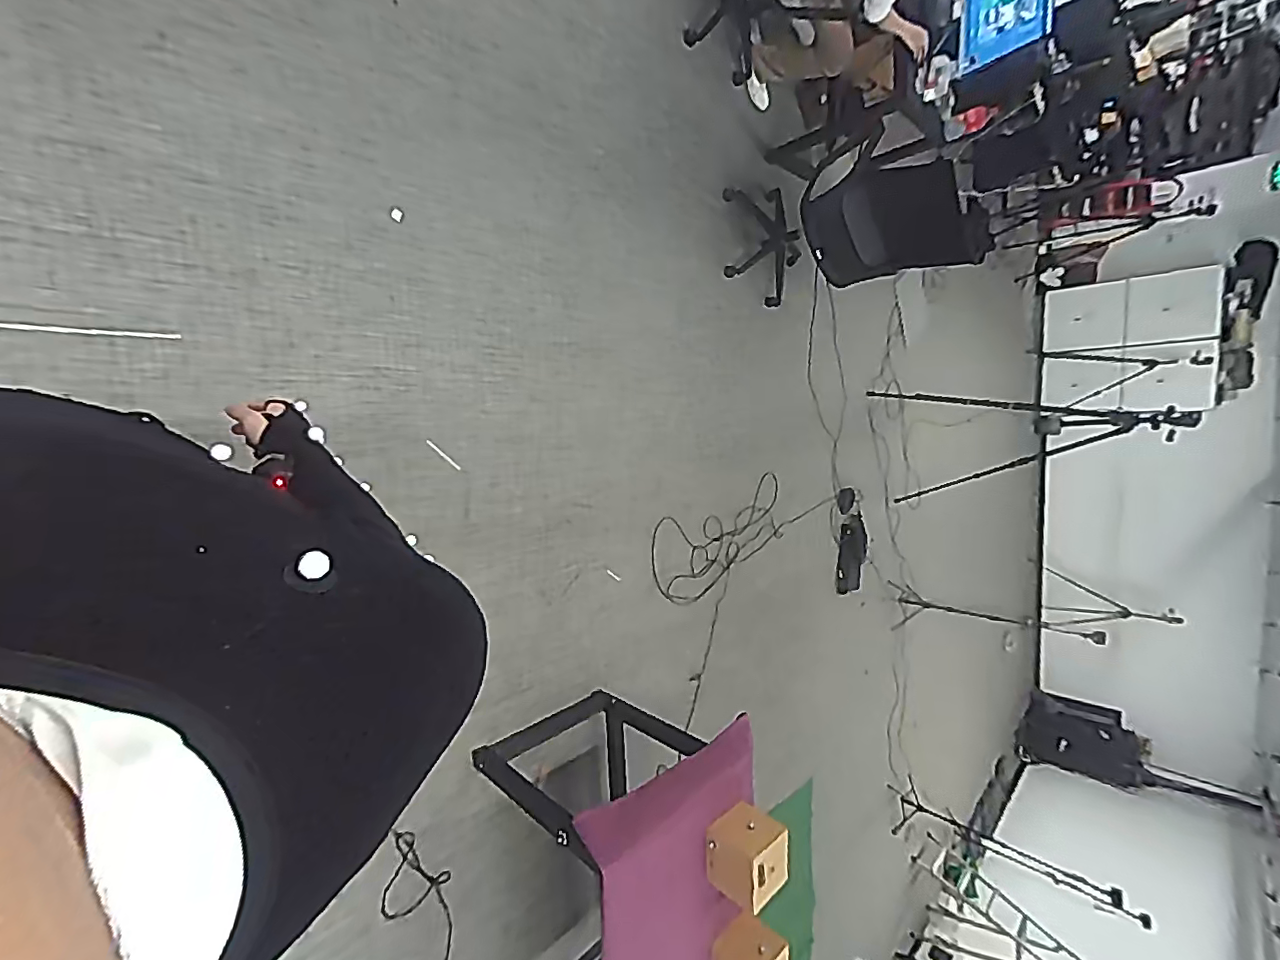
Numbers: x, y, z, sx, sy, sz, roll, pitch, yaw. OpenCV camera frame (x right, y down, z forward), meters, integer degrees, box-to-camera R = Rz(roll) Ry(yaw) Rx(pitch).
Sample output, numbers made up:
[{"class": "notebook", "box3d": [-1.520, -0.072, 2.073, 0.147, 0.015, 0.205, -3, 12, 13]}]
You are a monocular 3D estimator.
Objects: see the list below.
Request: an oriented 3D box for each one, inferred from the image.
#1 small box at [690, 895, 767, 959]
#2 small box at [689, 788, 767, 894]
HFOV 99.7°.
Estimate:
[{"class": "small box", "box3d": [0.273, 1.450, 1.677, 0.179, 0.176, 0.168, -3, 95, -45]}, {"class": "small box", "box3d": [0.262, 1.076, 1.627, 0.179, 0.176, 0.168, -6, 98, -45]}]
